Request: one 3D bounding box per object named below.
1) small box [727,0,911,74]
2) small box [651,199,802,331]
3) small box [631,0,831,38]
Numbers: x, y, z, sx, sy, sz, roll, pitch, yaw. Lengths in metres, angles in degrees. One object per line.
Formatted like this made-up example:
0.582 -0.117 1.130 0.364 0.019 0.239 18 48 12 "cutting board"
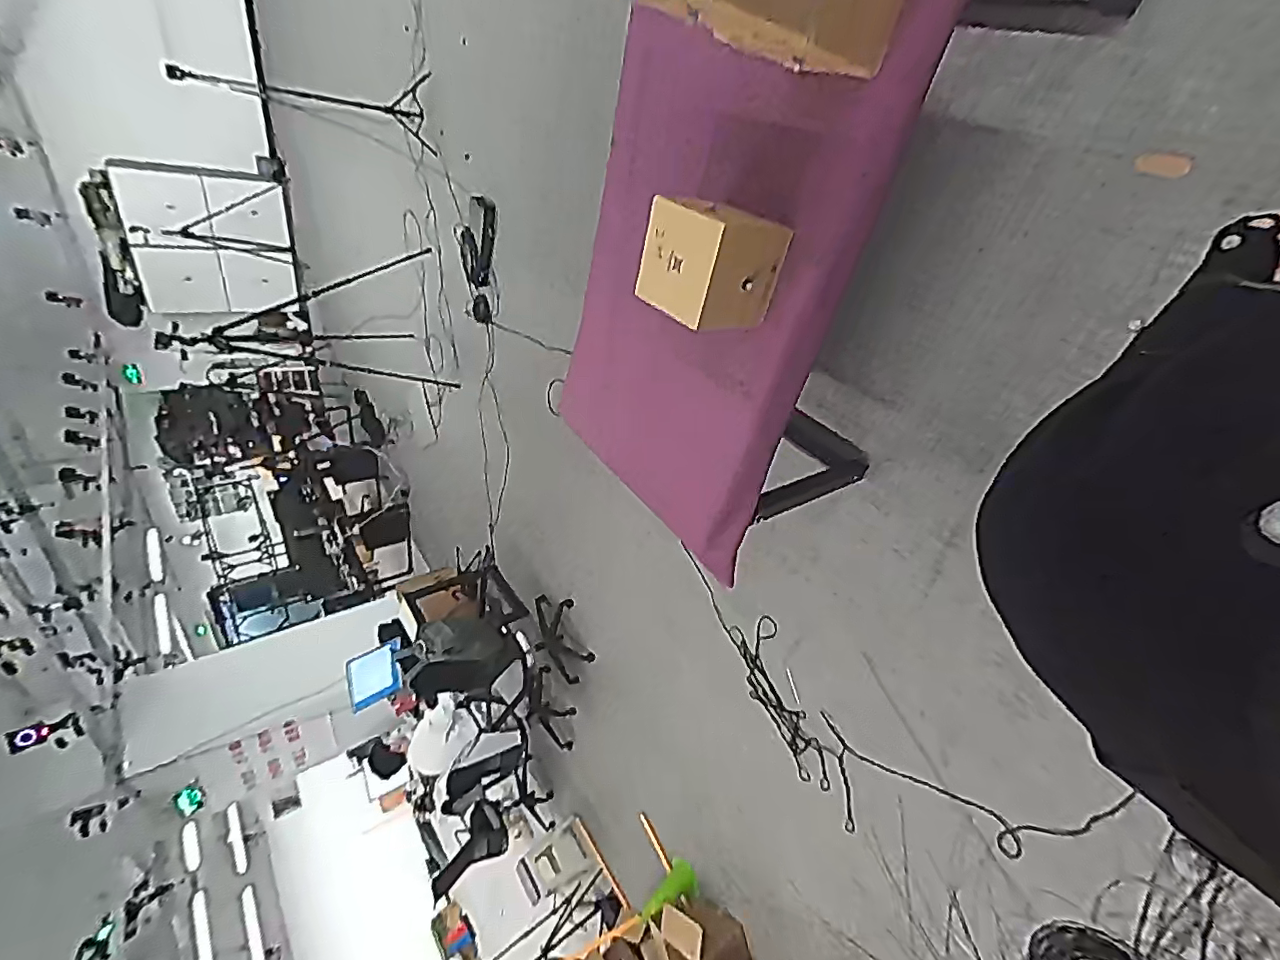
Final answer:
0.245 -0.654 0.700 0.168 0.176 0.179 41 135 37 "small box"
0.149 -0.376 0.941 0.179 0.176 0.168 45 135 37 "small box"
0.115 -0.618 0.606 0.179 0.176 0.168 43 137 37 "small box"
